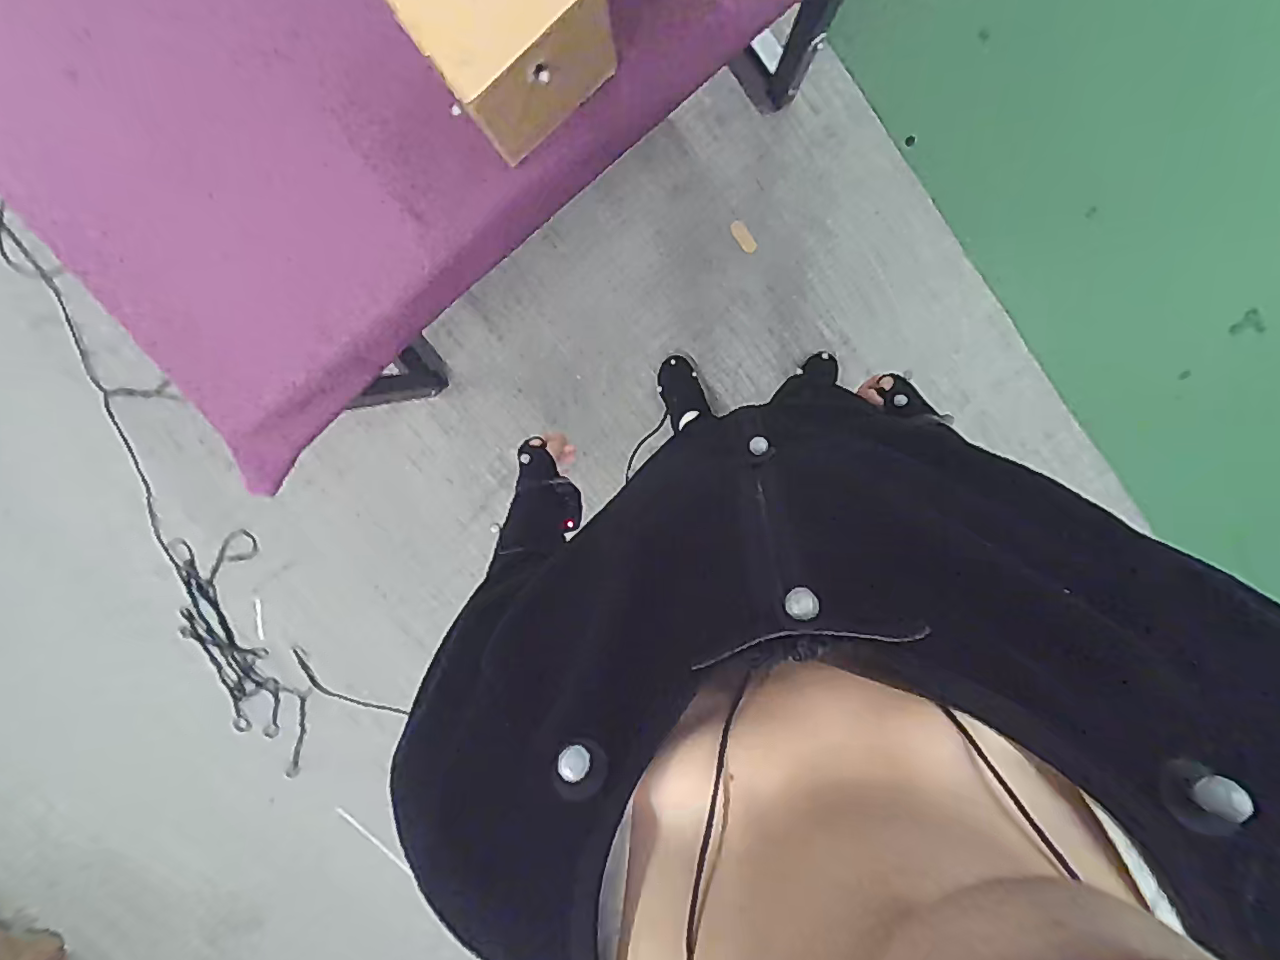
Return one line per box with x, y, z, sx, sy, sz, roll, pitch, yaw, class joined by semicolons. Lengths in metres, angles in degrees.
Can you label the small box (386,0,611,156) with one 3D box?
-0.148;-0.501;0.590;0.179;0.176;0.168;-37;98;9;small box
